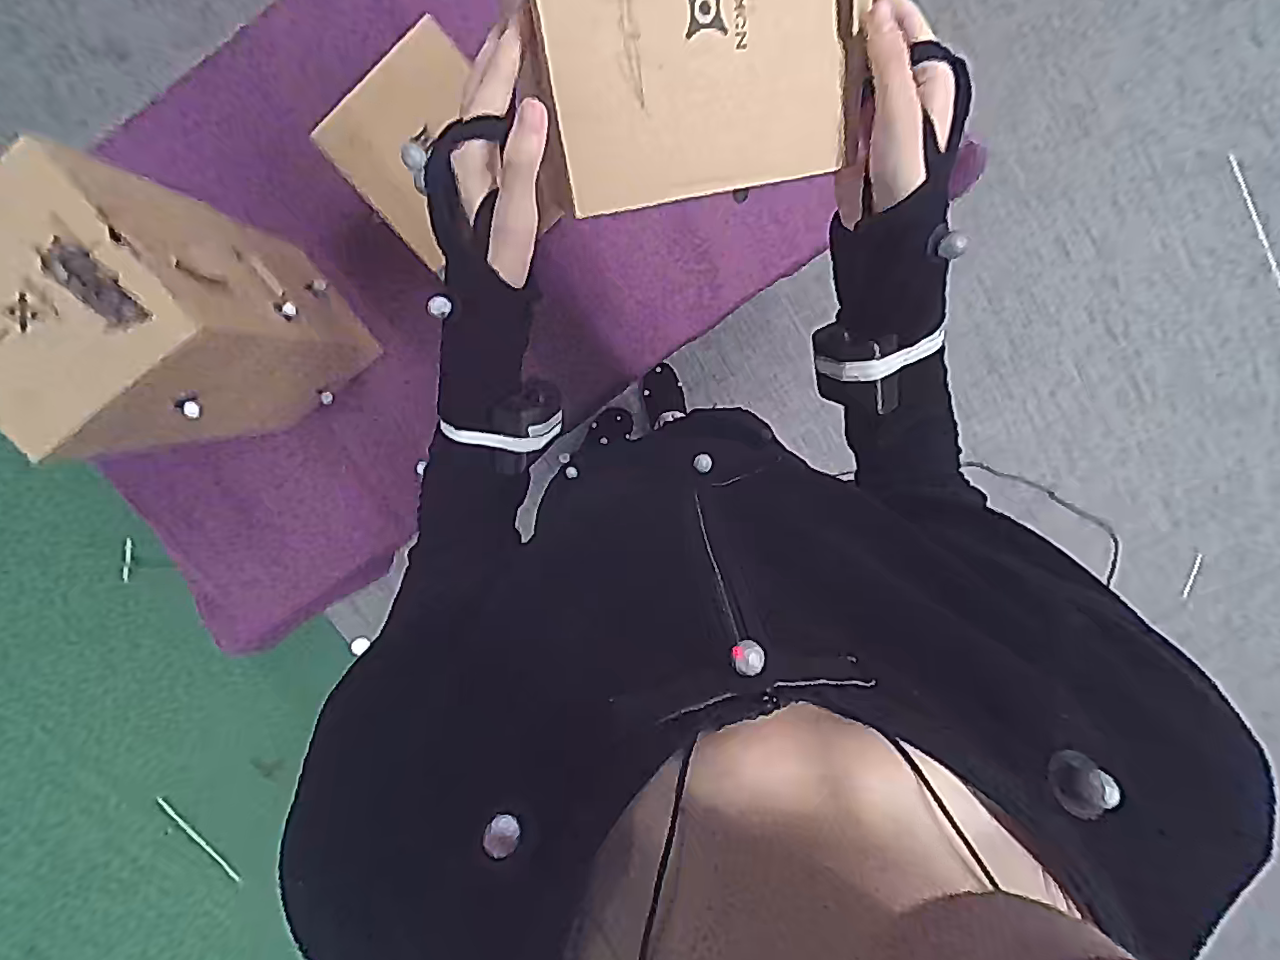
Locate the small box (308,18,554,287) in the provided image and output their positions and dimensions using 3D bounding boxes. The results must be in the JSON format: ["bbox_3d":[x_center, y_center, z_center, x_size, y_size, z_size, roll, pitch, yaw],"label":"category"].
[{"bbox_3d":[-0.219,-0.349,0.622,0.168,0.176,0.179,-41,101,6],"label":"small box"}]

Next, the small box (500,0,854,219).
[{"bbox_3d":[0.012,-0.273,0.342,0.179,0.176,0.168,-13,122,-8],"label":"small box"}]

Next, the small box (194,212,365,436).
[{"bbox_3d":[-0.462,-0.174,0.643,0.179,0.176,0.168,-37,100,3],"label":"small box"}]

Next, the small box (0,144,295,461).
[{"bbox_3d":[-0.453,-0.144,0.481,0.179,0.176,0.168,-36,101,5],"label":"small box"}]
